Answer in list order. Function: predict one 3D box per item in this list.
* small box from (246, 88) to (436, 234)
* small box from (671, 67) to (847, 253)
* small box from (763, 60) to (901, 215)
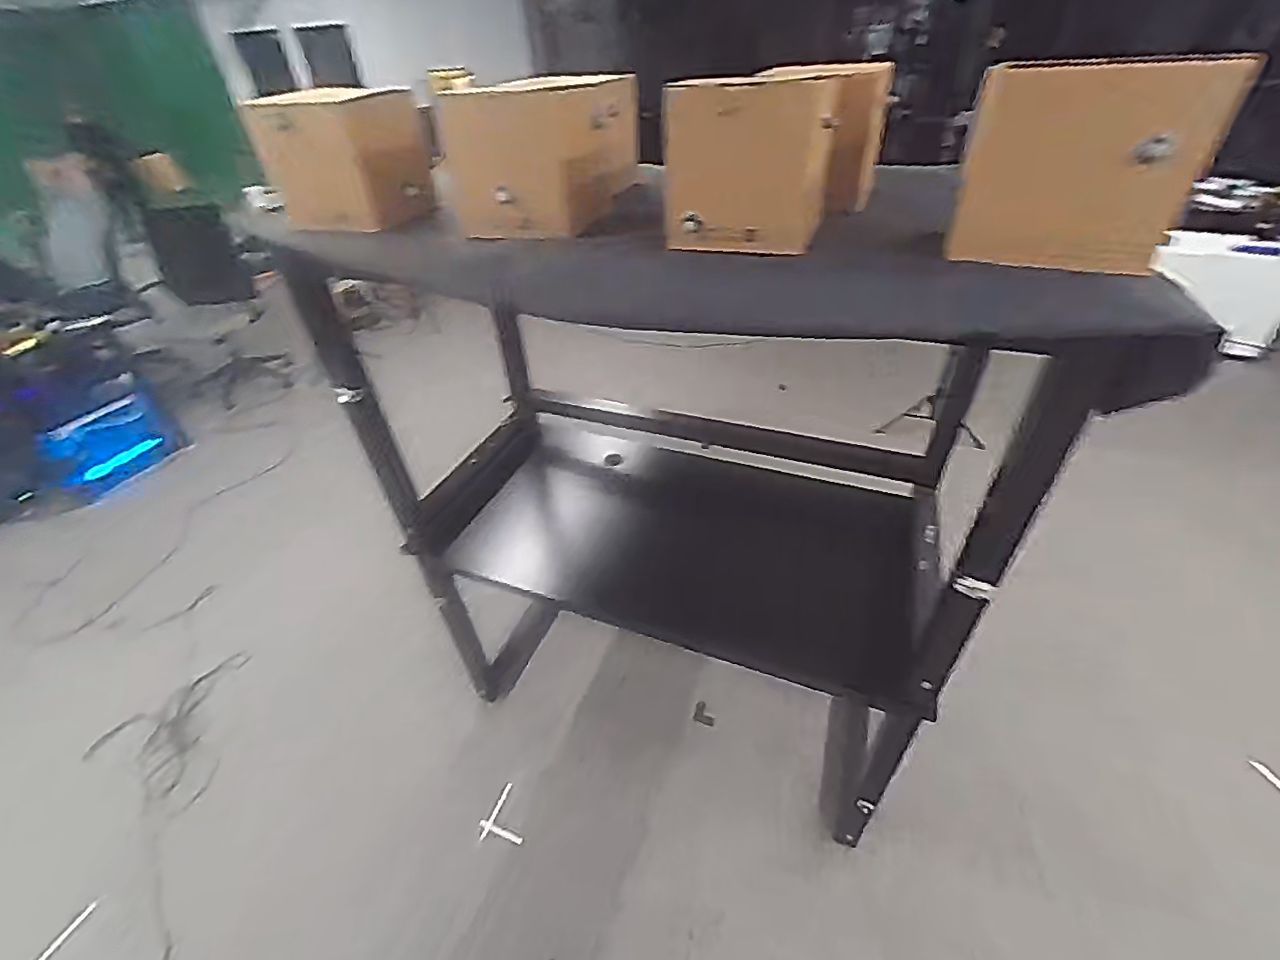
[{"bbox_3d":[-0.440,-0.496,0.835,0.168,0.176,0.179,8,41,13],"label":"small box"},{"bbox_3d":[0.144,-0.383,0.651,0.168,0.176,0.179,11,40,18],"label":"small box"},{"bbox_3d":[0.271,-0.506,0.797,0.168,0.176,0.179,13,43,19],"label":"small box"}]
